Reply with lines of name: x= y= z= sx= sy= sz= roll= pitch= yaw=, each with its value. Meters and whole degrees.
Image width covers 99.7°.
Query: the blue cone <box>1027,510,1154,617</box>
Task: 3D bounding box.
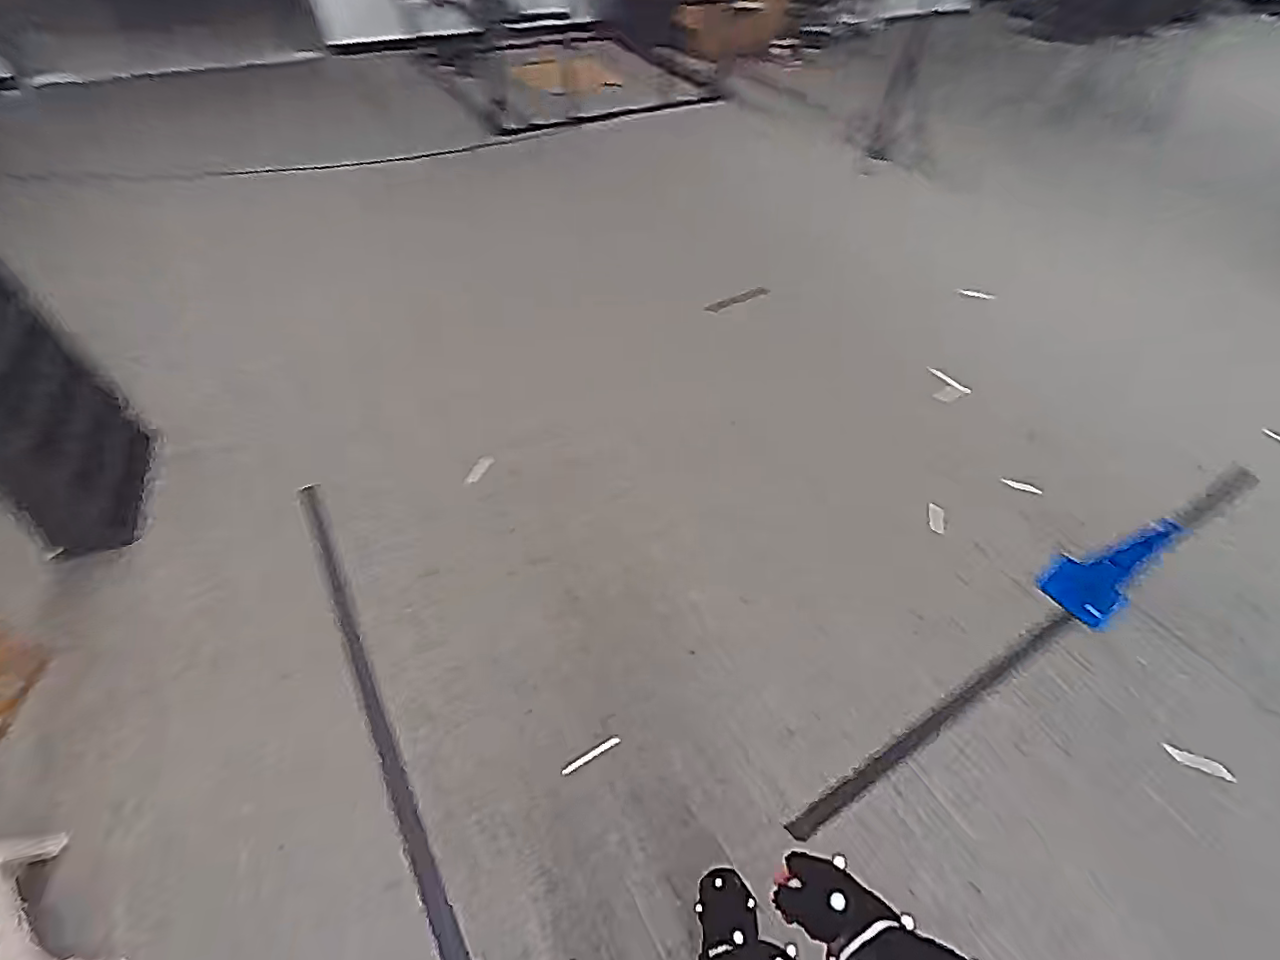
blue cone: x=1.350 y=0.220 z=1.575 sx=0.193 sy=0.380 sz=0.192 roll=-27 pitch=56 yaw=-24
